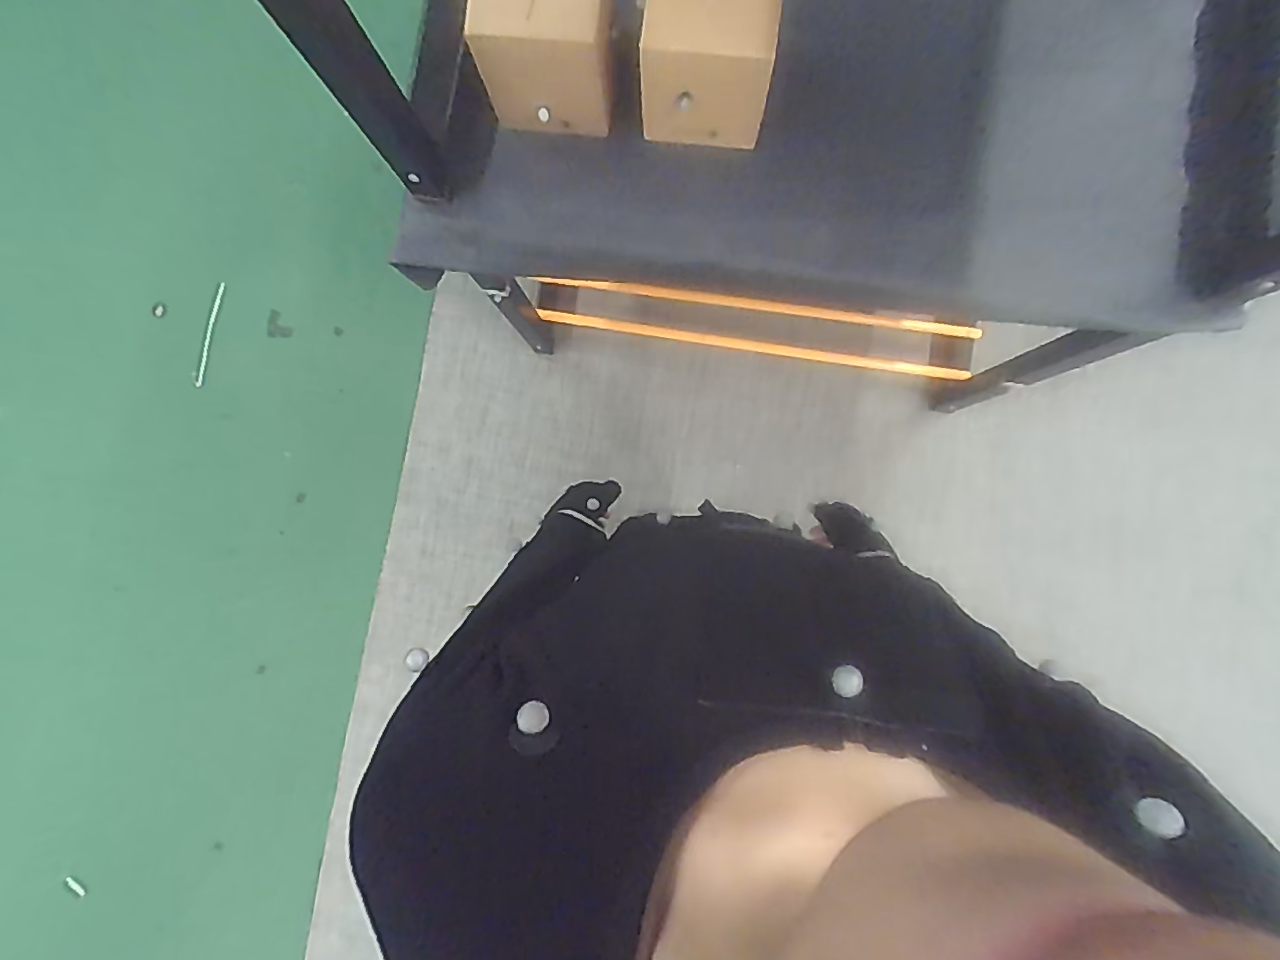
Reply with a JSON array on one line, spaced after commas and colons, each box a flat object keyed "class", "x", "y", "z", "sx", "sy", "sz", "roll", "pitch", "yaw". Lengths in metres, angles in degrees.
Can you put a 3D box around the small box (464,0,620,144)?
[{"class": "small box", "x": -0.122, "y": -0.608, "z": 0.745, "sx": 0.168, "sy": 0.176, "sz": 0.179, "roll": 6, "pitch": 87, "yaw": 4}]
